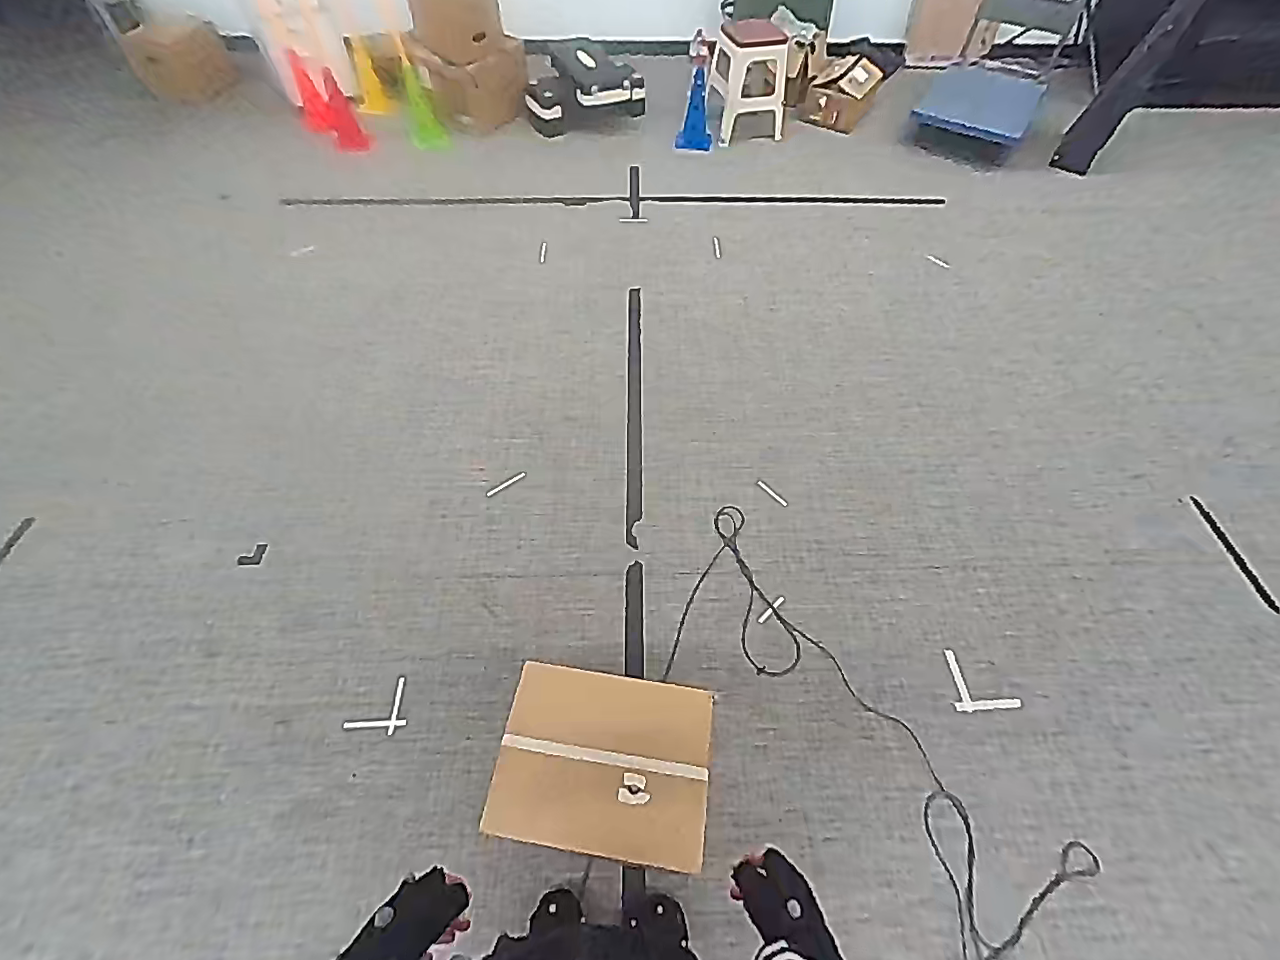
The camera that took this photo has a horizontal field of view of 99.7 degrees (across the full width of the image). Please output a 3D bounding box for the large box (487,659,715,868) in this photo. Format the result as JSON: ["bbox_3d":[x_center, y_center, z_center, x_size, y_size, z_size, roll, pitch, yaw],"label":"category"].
[{"bbox_3d":[-0.066,0.615,1.164,0.408,0.320,0.320,8,54,5],"label":"large box"}]
